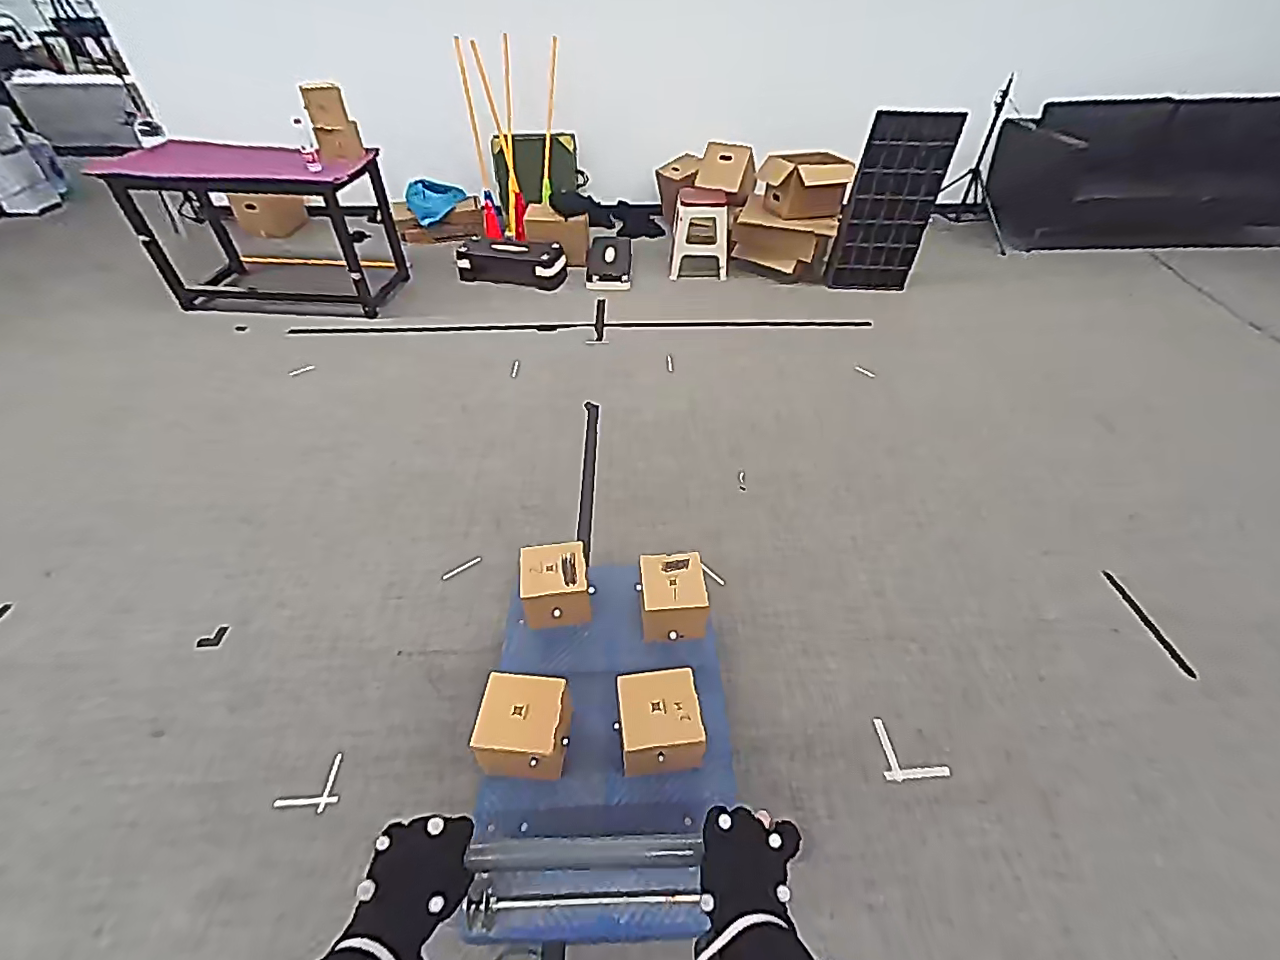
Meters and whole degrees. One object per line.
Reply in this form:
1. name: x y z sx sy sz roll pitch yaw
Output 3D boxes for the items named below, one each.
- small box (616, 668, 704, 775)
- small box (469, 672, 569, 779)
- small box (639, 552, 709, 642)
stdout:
1. small box: 0.041 0.552 1.230 0.179 0.176 0.168 -5 44 -5
2. small box: -0.263 0.556 1.223 0.179 0.176 0.168 5 43 2
3. small box: 0.086 0.319 1.474 0.168 0.176 0.179 -3 45 -3
